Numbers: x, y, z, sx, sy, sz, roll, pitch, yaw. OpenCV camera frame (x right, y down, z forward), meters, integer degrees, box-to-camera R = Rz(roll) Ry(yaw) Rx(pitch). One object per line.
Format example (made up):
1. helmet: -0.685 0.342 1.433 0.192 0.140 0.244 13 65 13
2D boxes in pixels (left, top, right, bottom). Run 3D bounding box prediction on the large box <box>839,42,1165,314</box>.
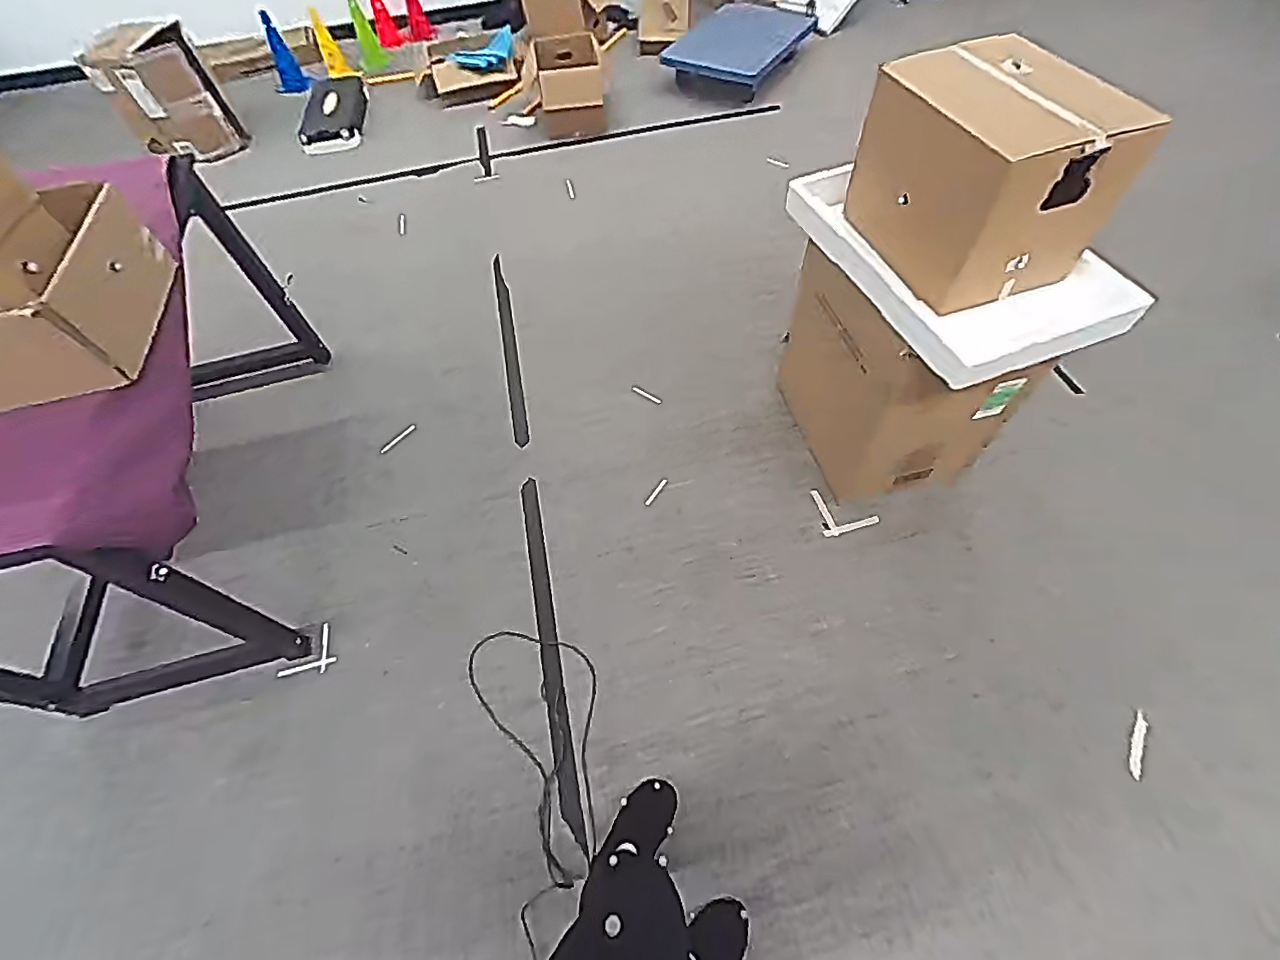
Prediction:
1. large box: 0.674 -0.612 1.101 0.320 0.320 0.408 -17 56 -8
